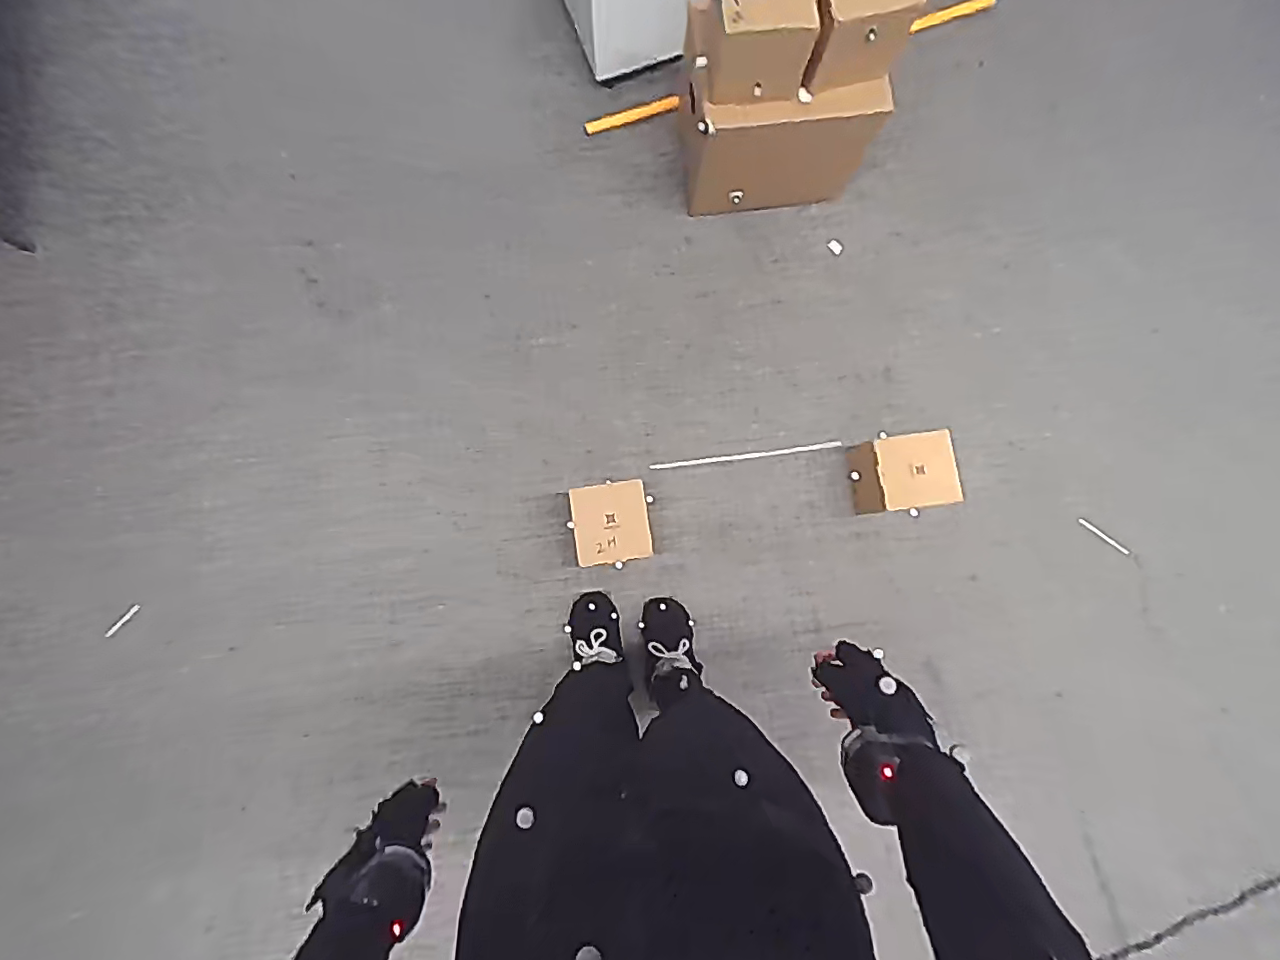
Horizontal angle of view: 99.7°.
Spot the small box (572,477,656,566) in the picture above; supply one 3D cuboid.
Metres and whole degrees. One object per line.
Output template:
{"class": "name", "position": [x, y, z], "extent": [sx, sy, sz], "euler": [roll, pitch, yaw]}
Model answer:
{"class": "small box", "position": [-0.059, 0.098, 1.244], "extent": [0.168, 0.176, 0.179], "euler": [-9, 84, -1]}

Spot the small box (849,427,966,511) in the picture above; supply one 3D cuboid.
{"class": "small box", "position": [0.616, -0.020, 1.262], "extent": [0.179, 0.176, 0.168], "euler": [-9, 85, -1]}
